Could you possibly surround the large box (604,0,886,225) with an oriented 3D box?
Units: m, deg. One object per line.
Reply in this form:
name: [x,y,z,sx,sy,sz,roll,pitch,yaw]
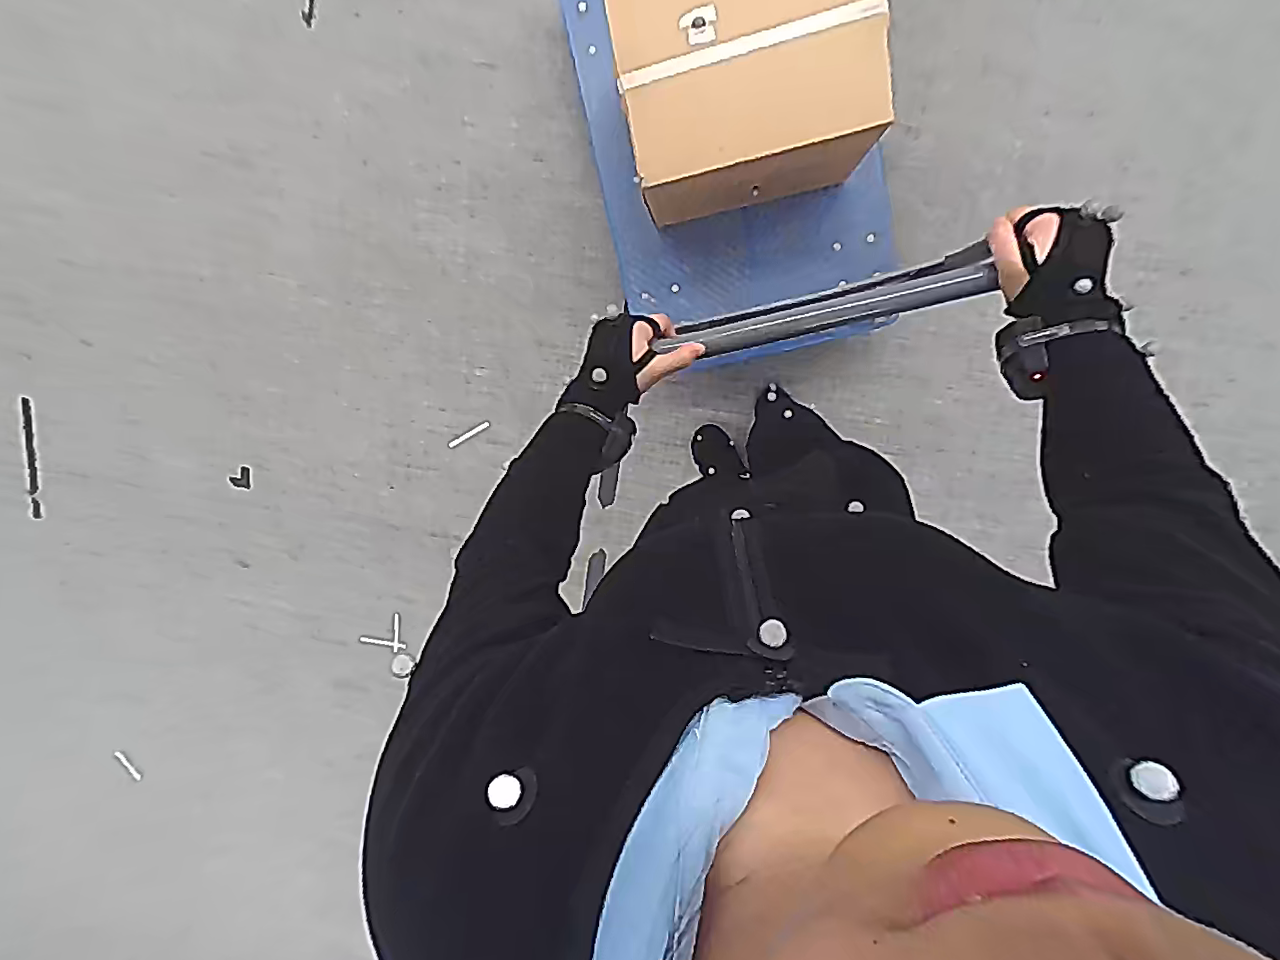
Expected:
large box: [0.184,-0.708,0.994,0.408,0.320,0.320,-10,101,10]
